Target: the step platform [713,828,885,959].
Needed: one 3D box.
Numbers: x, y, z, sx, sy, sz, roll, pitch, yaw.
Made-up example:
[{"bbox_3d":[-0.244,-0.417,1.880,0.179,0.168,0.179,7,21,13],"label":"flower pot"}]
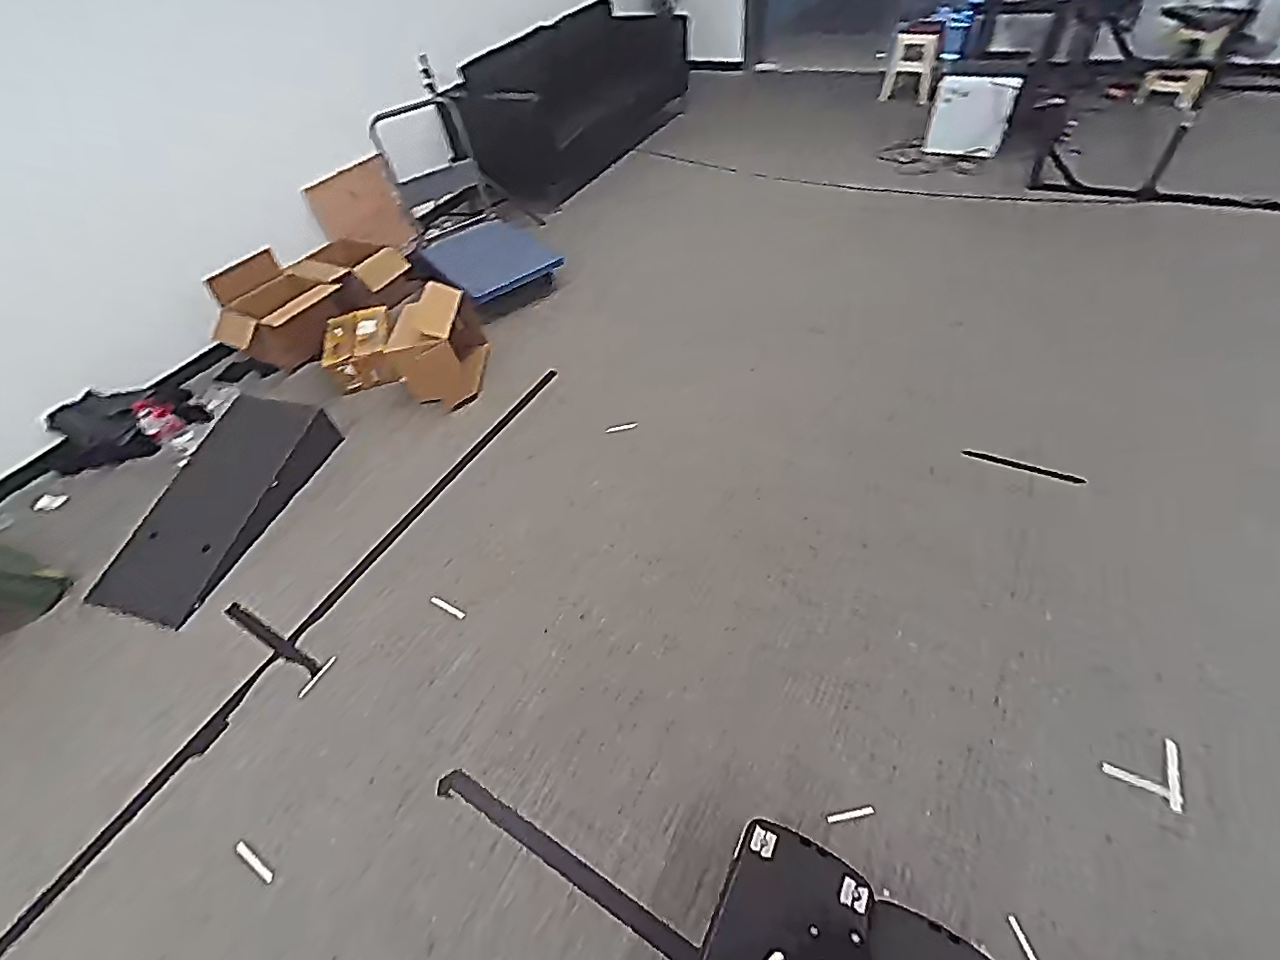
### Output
[{"bbox_3d":[0.248,1.086,1.053,0.286,0.204,0.684,19,54,22],"label":"step platform"}]
